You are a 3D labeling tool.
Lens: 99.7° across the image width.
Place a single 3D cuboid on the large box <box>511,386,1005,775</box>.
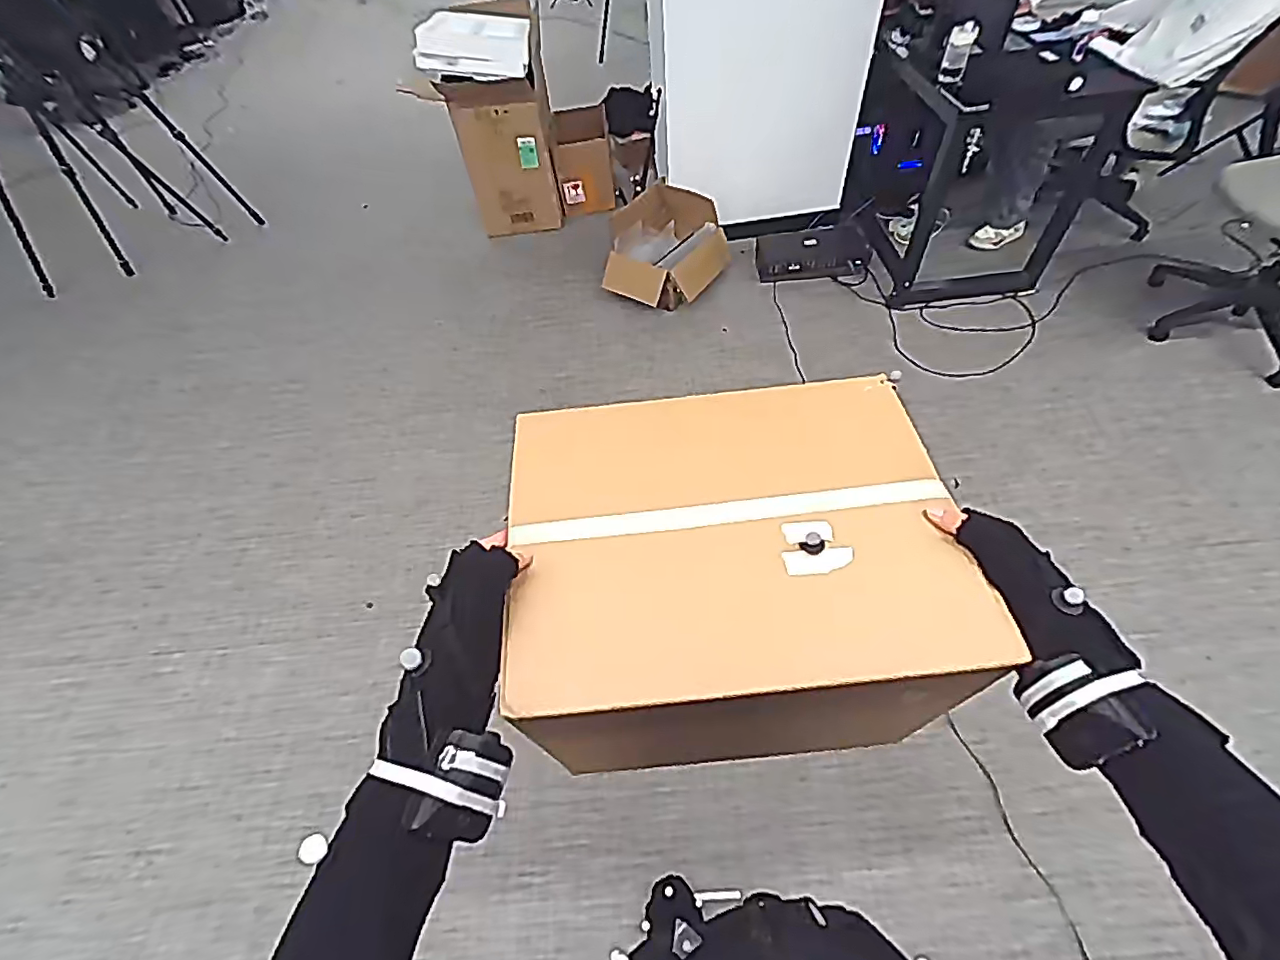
[{"bbox_3d":[0.088,0.127,0.630,0.408,0.320,0.320,-6,54,0],"label":"large box"}]
